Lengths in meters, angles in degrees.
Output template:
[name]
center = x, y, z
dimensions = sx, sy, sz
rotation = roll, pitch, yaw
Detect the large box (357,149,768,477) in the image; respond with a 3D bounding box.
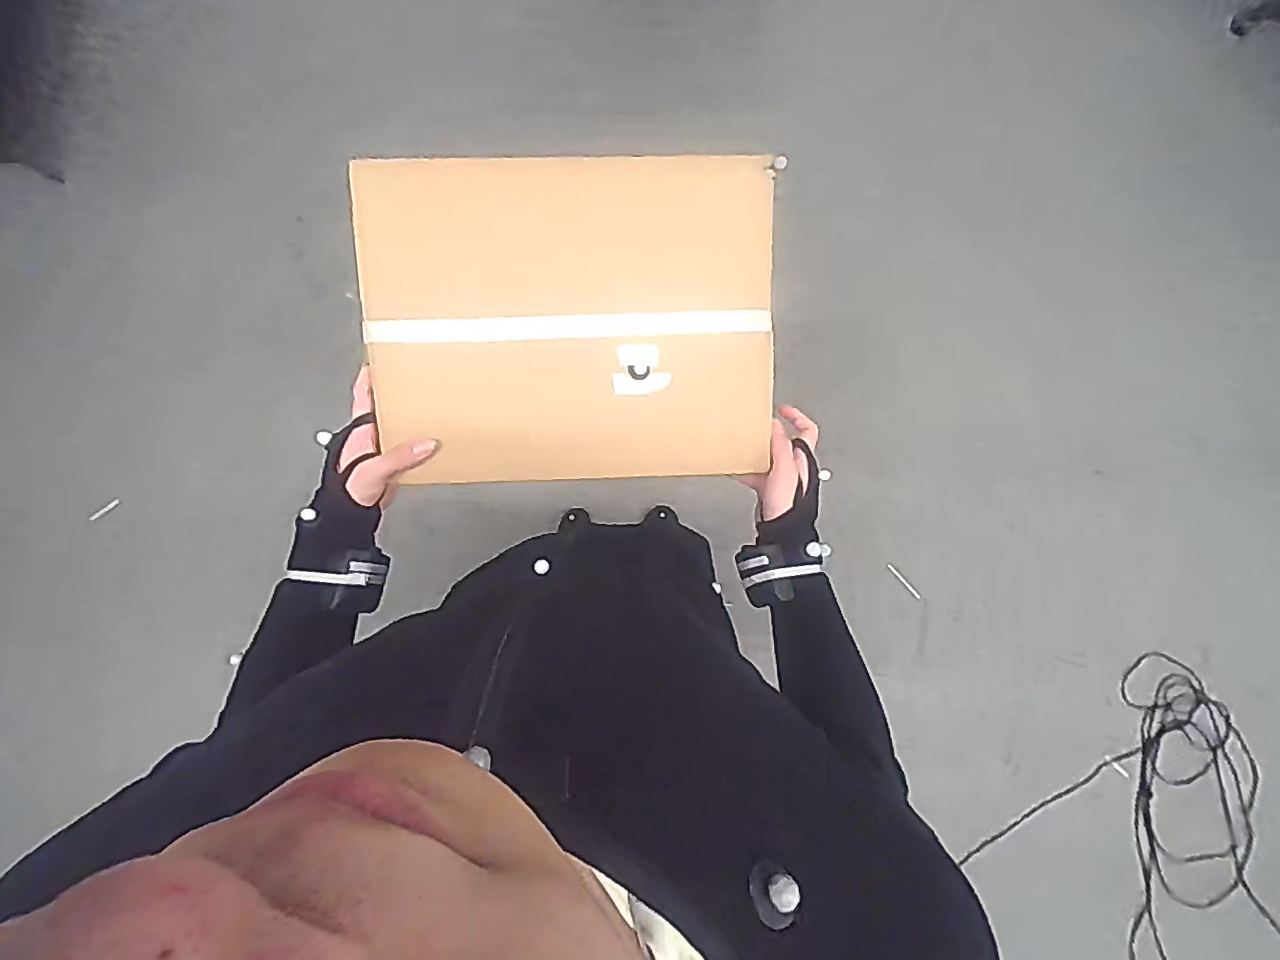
[large box]
center = -0.077, -0.190, 0.695
dimensions = 0.408, 0.320, 0.320
rotation = -3, 101, -3
